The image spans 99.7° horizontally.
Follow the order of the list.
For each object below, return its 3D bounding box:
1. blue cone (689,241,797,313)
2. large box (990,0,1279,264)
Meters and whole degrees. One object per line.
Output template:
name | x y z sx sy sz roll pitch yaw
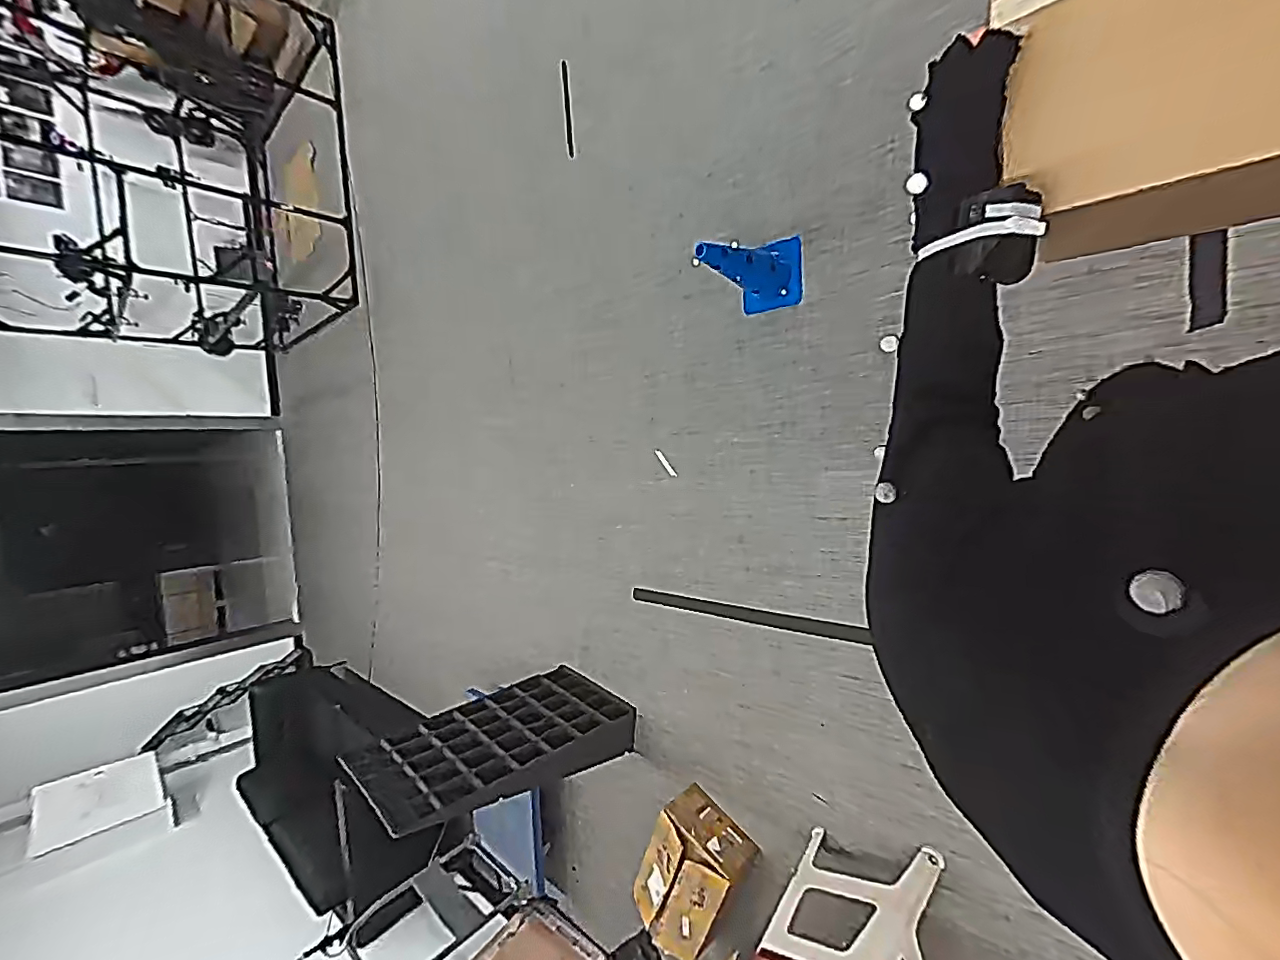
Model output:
blue cone | 0.281 -0.610 1.546 0.192 0.380 0.193 4 97 45
large box | 0.523 -0.390 0.409 0.408 0.320 0.320 0 101 42
